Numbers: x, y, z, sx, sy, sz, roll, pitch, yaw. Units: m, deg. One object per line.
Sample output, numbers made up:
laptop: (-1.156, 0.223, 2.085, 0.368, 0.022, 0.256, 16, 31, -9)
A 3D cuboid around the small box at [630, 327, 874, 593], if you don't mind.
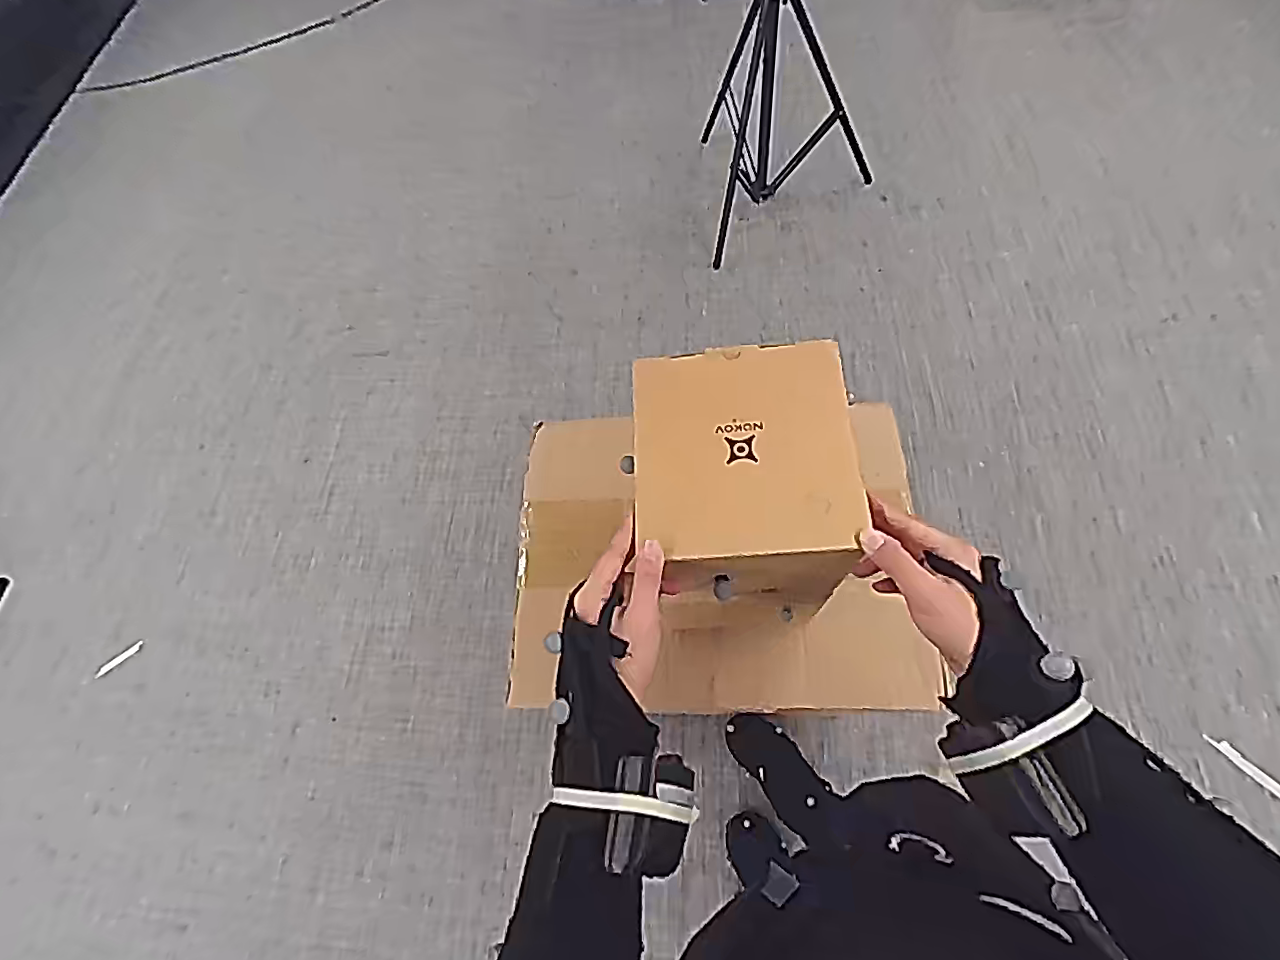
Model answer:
small box: (0.086, -0.002, 0.470, 0.168, 0.176, 0.179, -5, 66, 7)
